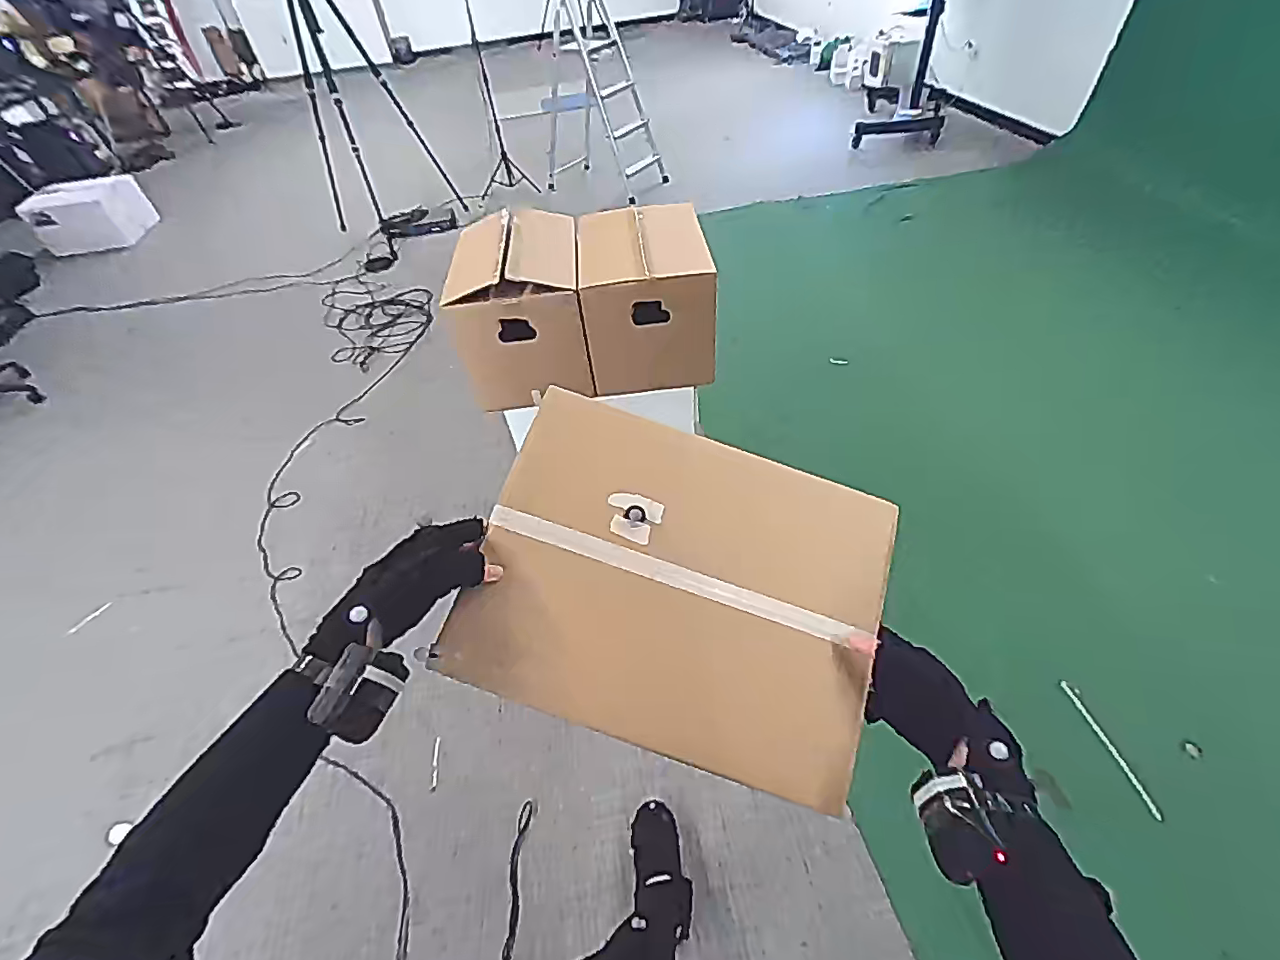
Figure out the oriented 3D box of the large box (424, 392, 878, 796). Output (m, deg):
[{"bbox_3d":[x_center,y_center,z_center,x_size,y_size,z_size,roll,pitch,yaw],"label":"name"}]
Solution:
[{"bbox_3d":[0.021,0.142,0.692,0.408,0.320,0.320,19,71,3],"label":"large box"}]
